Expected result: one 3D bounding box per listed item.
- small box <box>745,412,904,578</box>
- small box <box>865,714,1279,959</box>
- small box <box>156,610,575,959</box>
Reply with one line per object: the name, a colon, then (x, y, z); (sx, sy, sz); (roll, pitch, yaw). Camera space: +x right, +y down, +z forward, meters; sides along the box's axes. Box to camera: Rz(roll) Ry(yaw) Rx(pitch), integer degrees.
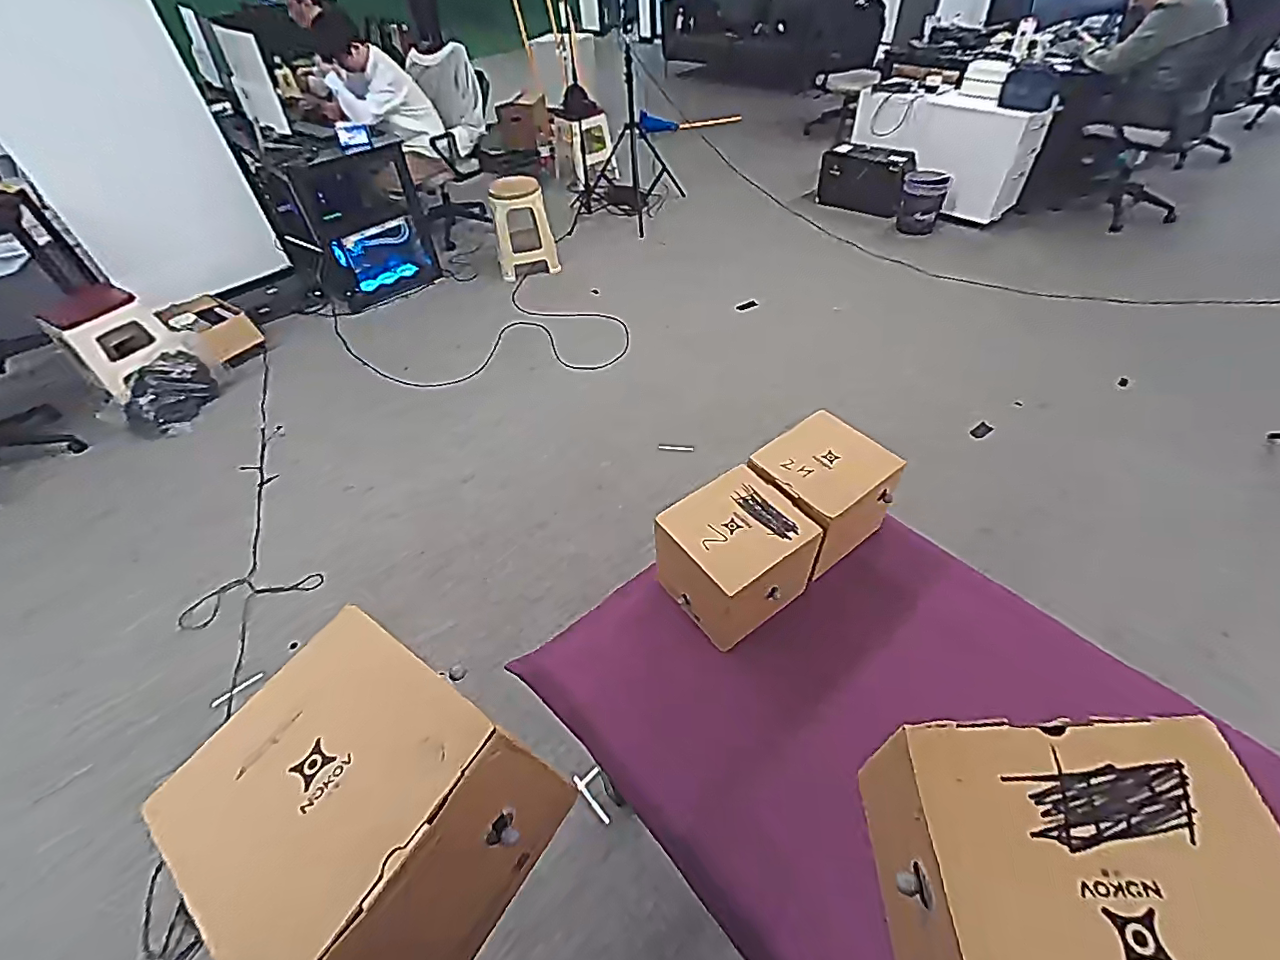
small box: (0.291, 0.025, 0.894); (0.179, 0.176, 0.168); (-31, 53, -21)
small box: (0.250, 0.257, 0.327); (0.168, 0.176, 0.179); (-6, 53, 7)
small box: (-0.174, 0.232, 0.391); (0.179, 0.176, 0.168); (21, 57, 31)
